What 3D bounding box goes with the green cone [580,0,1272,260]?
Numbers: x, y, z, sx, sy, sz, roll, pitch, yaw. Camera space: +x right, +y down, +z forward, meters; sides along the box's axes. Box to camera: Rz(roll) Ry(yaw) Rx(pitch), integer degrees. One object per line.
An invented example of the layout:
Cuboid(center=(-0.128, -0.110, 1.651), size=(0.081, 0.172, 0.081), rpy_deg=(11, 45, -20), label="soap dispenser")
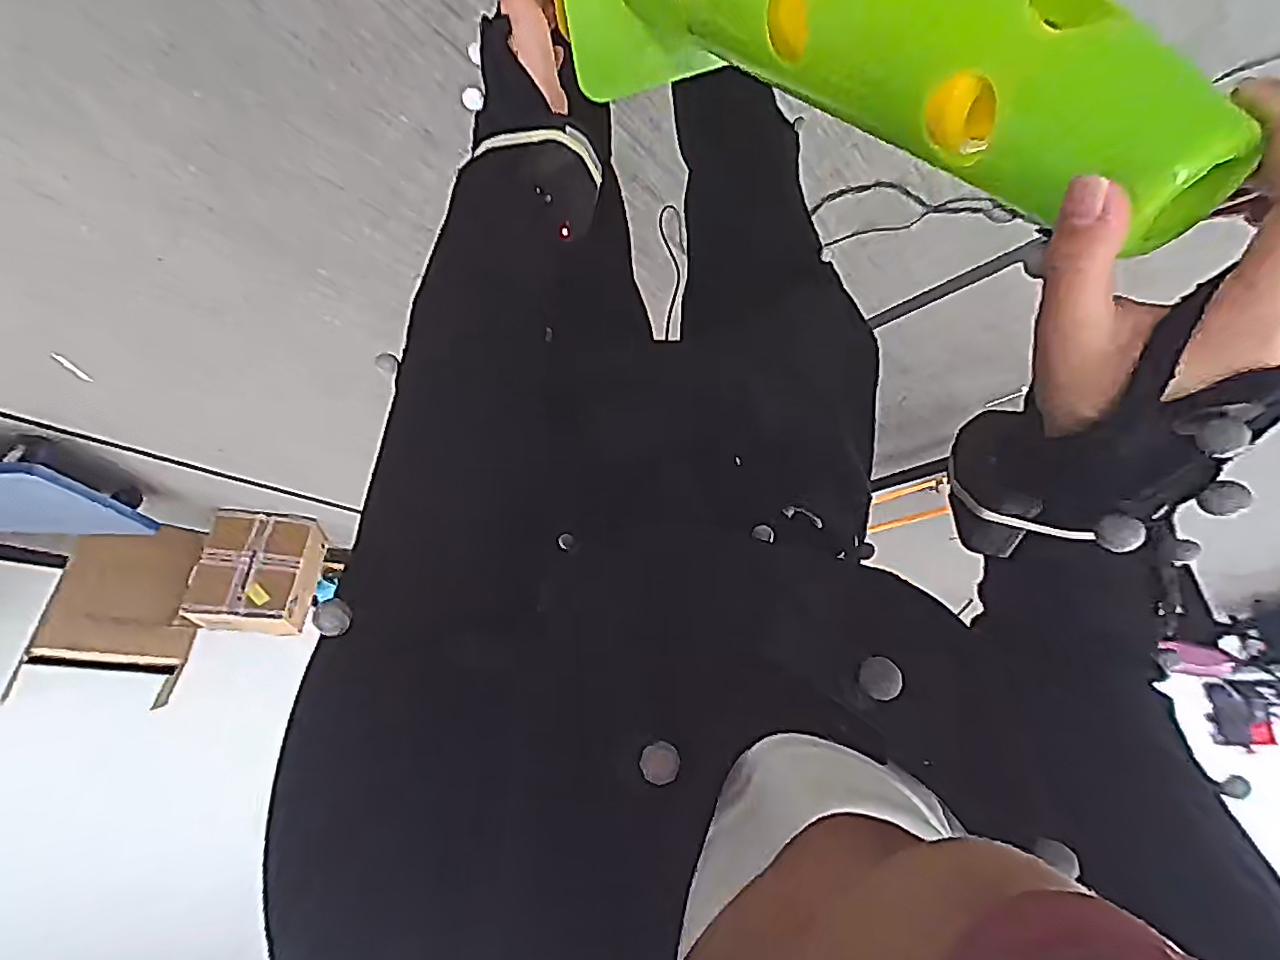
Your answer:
Cuboid(center=(0.106, -0.228, 0.240), size=(0.202, 0.368, 0.200), rpy_deg=(-19, 150, -4), label="green cone")
